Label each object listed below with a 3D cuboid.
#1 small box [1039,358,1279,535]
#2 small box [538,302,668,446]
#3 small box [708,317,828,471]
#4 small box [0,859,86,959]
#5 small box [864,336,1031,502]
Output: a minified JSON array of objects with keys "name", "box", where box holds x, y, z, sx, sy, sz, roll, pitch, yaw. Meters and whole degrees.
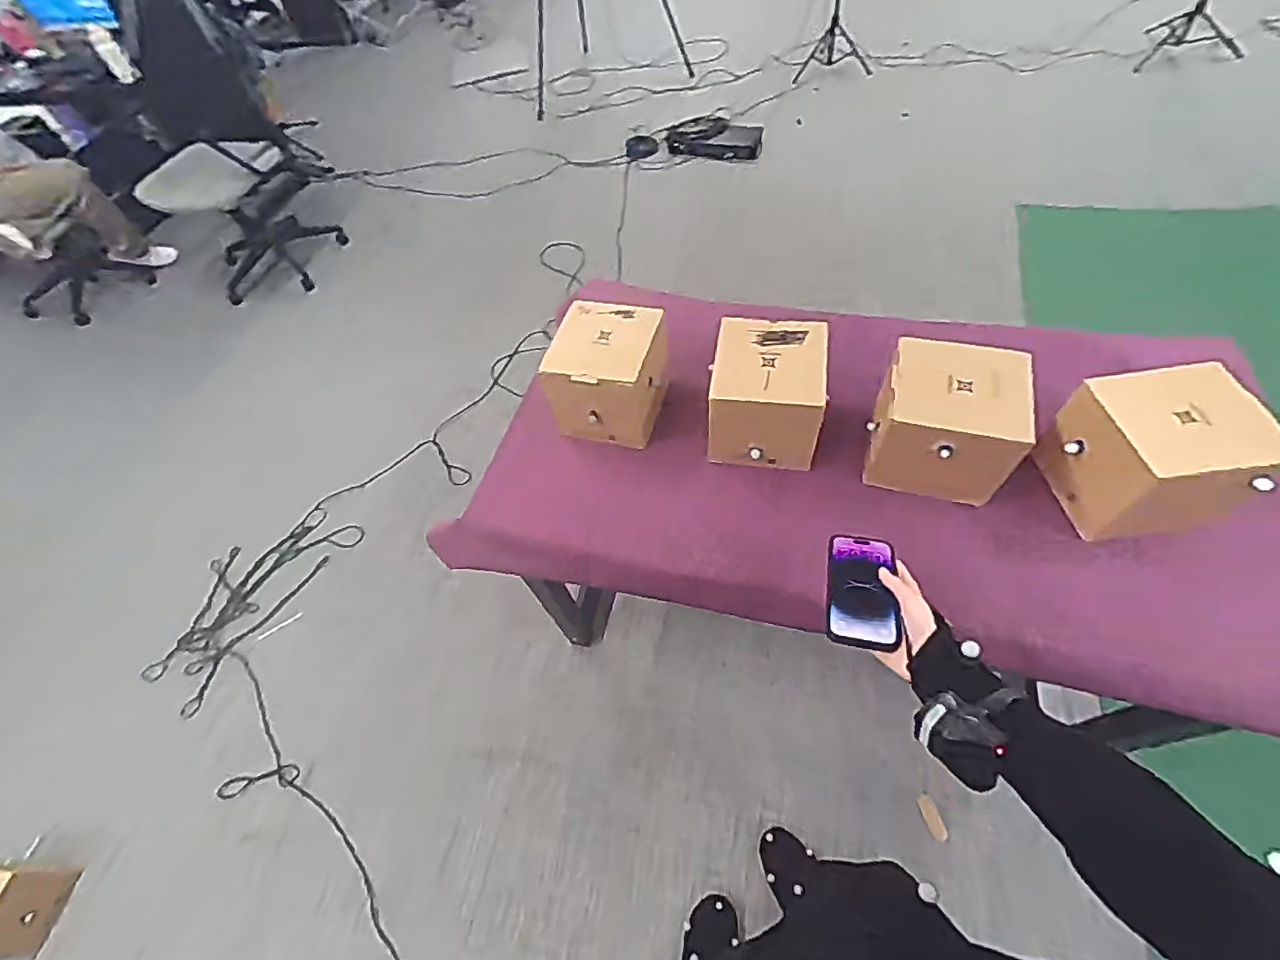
[{"name":"small box","box":[0.693,-0.038,0.739,0.179,0.176,0.168,-8,55,3]},{"name":"small box","box":[-0.052,-0.182,0.946,0.168,0.176,0.179,11,60,15]},{"name":"small box","box":[0.204,-0.138,0.879,0.168,0.176,0.179,6,59,13]},{"name":"small box","box":[-1.473,0.990,1.253,0.179,0.176,0.168,2,57,10]},{"name":"small box","box":[0.449,-0.087,0.809,0.179,0.176,0.168,13,60,16]}]
